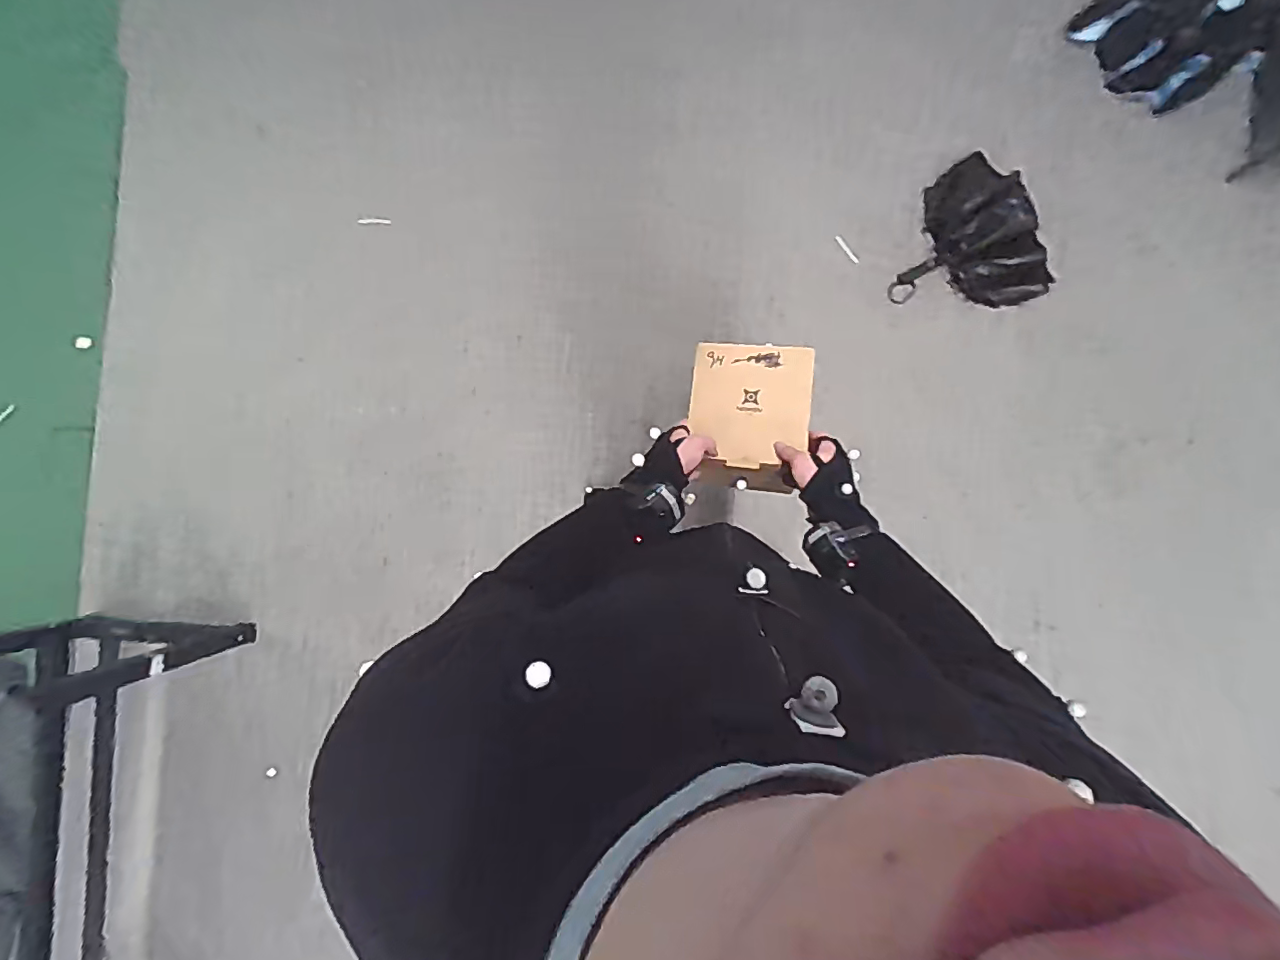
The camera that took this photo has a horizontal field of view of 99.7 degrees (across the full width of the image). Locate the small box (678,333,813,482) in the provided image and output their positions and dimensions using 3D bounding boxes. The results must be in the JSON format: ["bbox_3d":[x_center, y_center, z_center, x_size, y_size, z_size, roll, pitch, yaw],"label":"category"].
[{"bbox_3d":[0.155,-0.098,0.804,0.168,0.176,0.179,6,80,11],"label":"small box"}]
